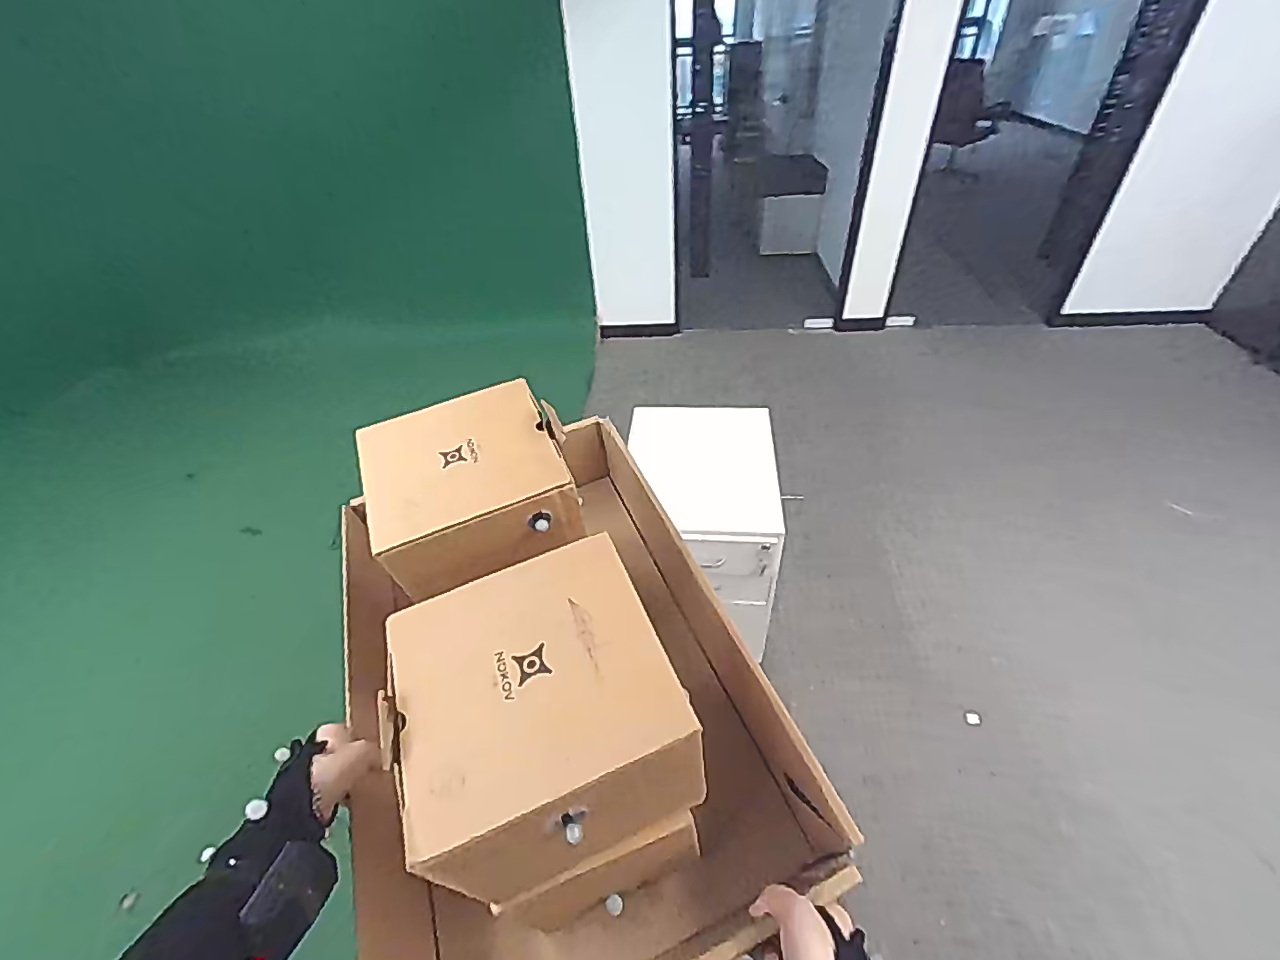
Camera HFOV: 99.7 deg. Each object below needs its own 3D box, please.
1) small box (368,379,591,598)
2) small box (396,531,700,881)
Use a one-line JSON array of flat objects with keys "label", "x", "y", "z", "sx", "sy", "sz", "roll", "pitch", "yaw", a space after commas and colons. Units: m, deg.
[{"label": "small box", "x": -0.158, "y": 0.028, "z": 0.570, "sx": 0.179, "sy": 0.176, "sz": 0.168, "roll": -20, "pitch": 50, "yaw": -13}, {"label": "small box", "x": -0.063, "y": 0.176, "z": 0.420, "sx": 0.179, "sy": 0.176, "sz": 0.168, "roll": -20, "pitch": 48, "yaw": -12}]
